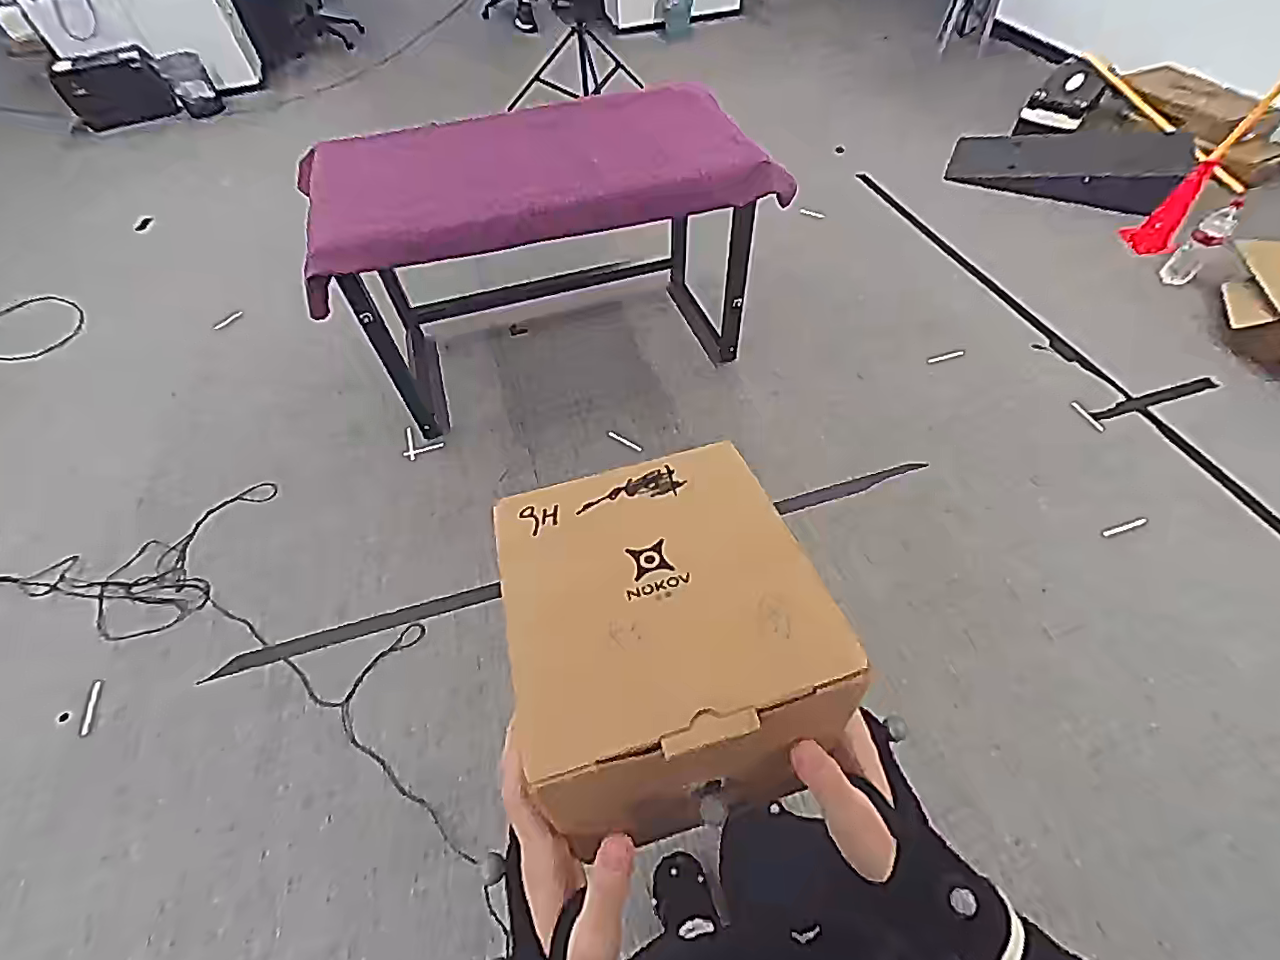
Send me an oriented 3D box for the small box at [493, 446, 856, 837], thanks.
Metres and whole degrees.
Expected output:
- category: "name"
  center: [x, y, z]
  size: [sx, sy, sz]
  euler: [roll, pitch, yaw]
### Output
- category: "small box"
  center: [0.012, 0.111, 0.359]
  size: [0.168, 0.176, 0.179]
  euler: [-14, 46, -7]
